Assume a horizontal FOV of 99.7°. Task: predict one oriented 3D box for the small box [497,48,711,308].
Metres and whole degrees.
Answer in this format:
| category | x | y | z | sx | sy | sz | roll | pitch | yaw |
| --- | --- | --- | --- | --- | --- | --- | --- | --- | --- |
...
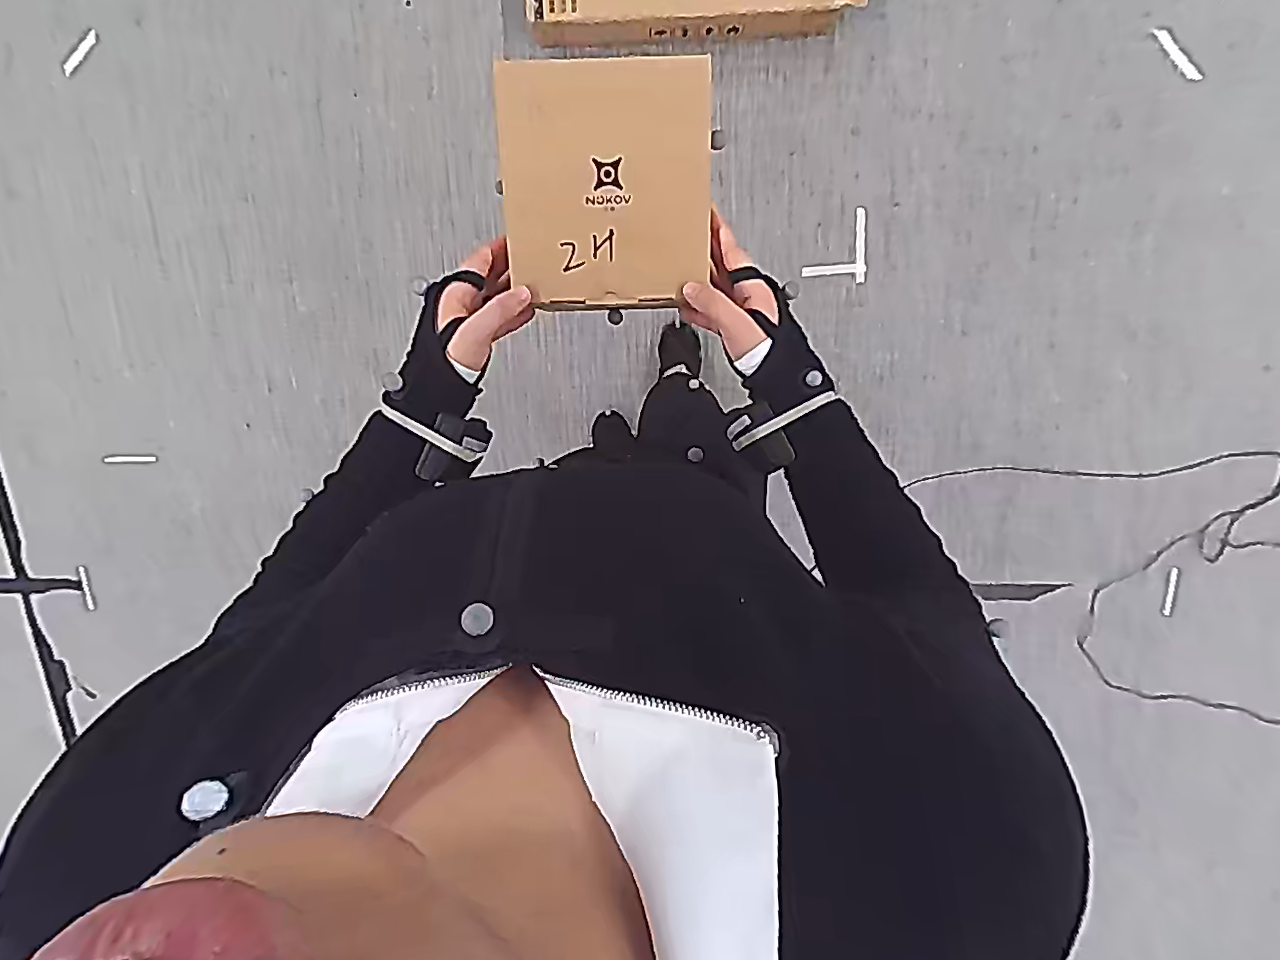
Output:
| category | x | y | z | sx | sy | sz | roll | pitch | yaw |
| --- | --- | --- | --- | --- | --- | --- | --- | --- | --- |
| small box | -0.027 | -0.259 | 0.505 | 0.168 | 0.176 | 0.179 | -1 | 105 | 1 |
